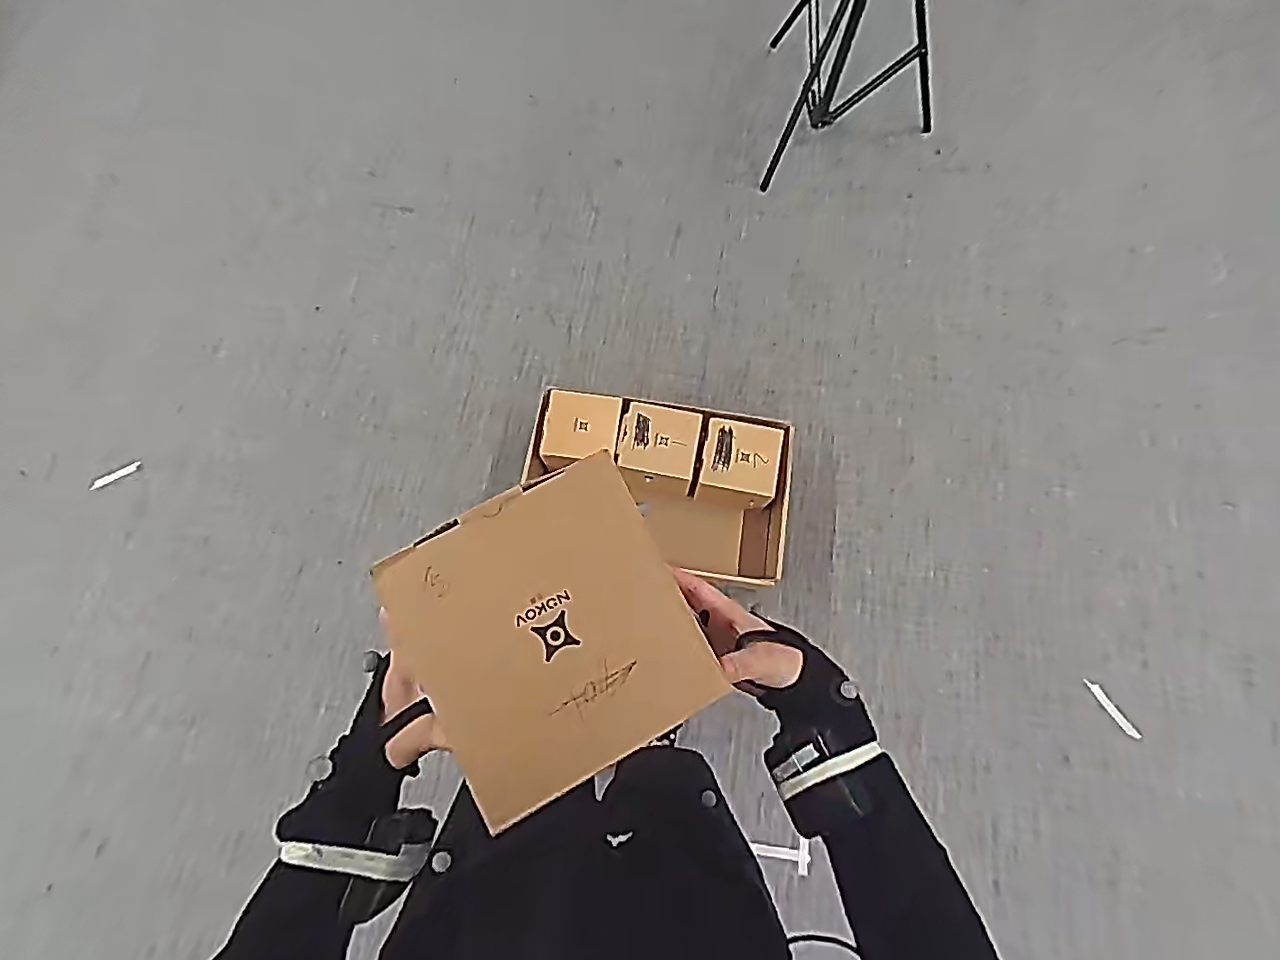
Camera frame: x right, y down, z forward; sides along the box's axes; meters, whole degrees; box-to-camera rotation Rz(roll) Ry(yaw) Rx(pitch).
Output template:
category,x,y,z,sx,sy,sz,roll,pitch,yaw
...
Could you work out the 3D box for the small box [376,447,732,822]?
category,x,y,z,sx,sy,sz,roll,pitch,yaw
small box,-0.060,0.101,0.410,0.168,0.176,0.179,-27,85,-9
